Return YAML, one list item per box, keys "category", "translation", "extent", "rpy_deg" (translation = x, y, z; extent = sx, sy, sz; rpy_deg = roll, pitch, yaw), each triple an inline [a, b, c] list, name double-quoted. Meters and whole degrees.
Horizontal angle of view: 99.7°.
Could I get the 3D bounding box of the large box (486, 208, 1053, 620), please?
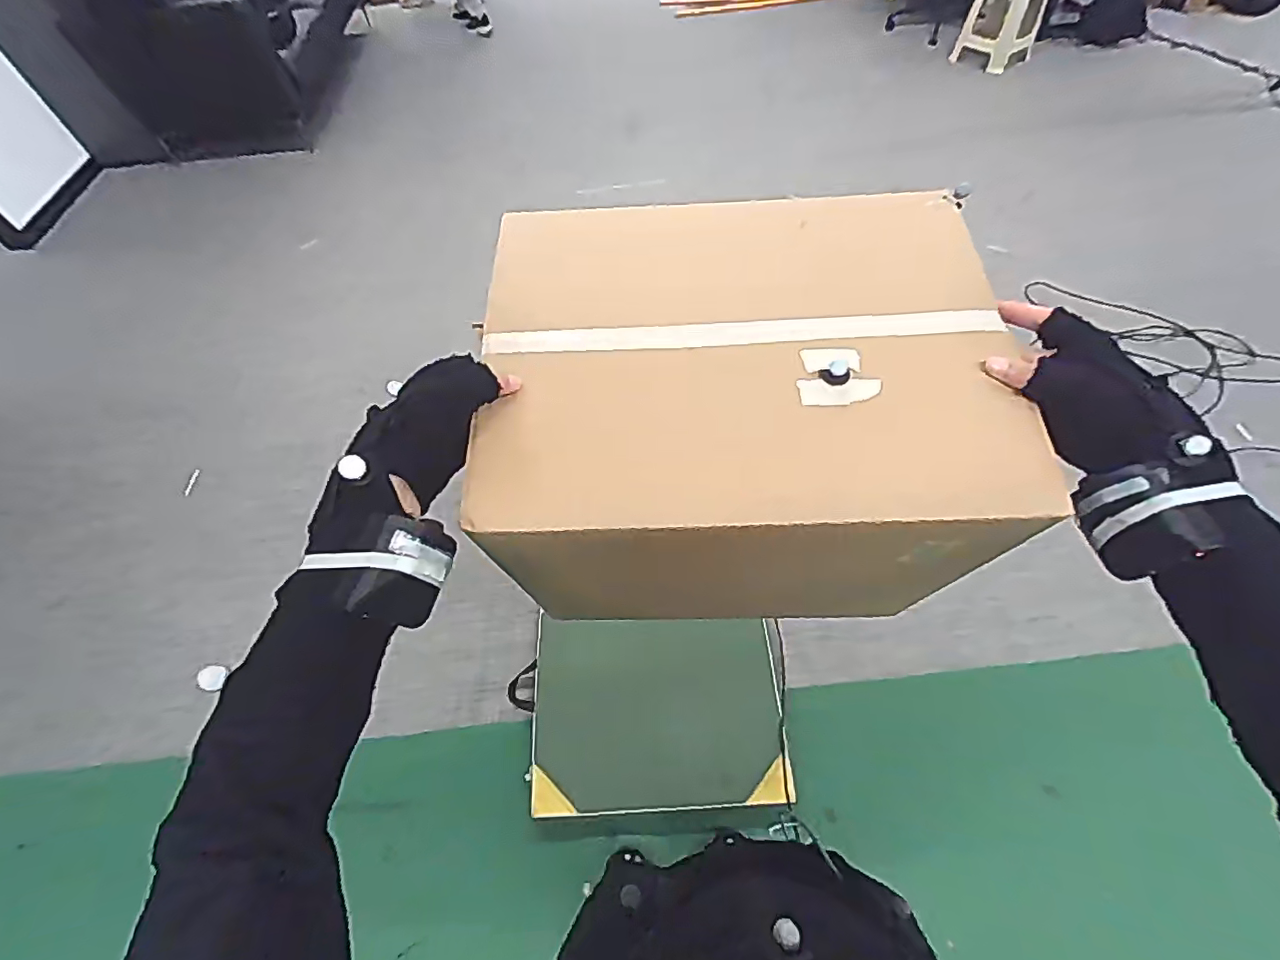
- category: "large box"
  translation: [0.088, -0.043, 0.572]
  extent: [0.408, 0.320, 0.320]
  rpy_deg: [-2, 64, 2]
